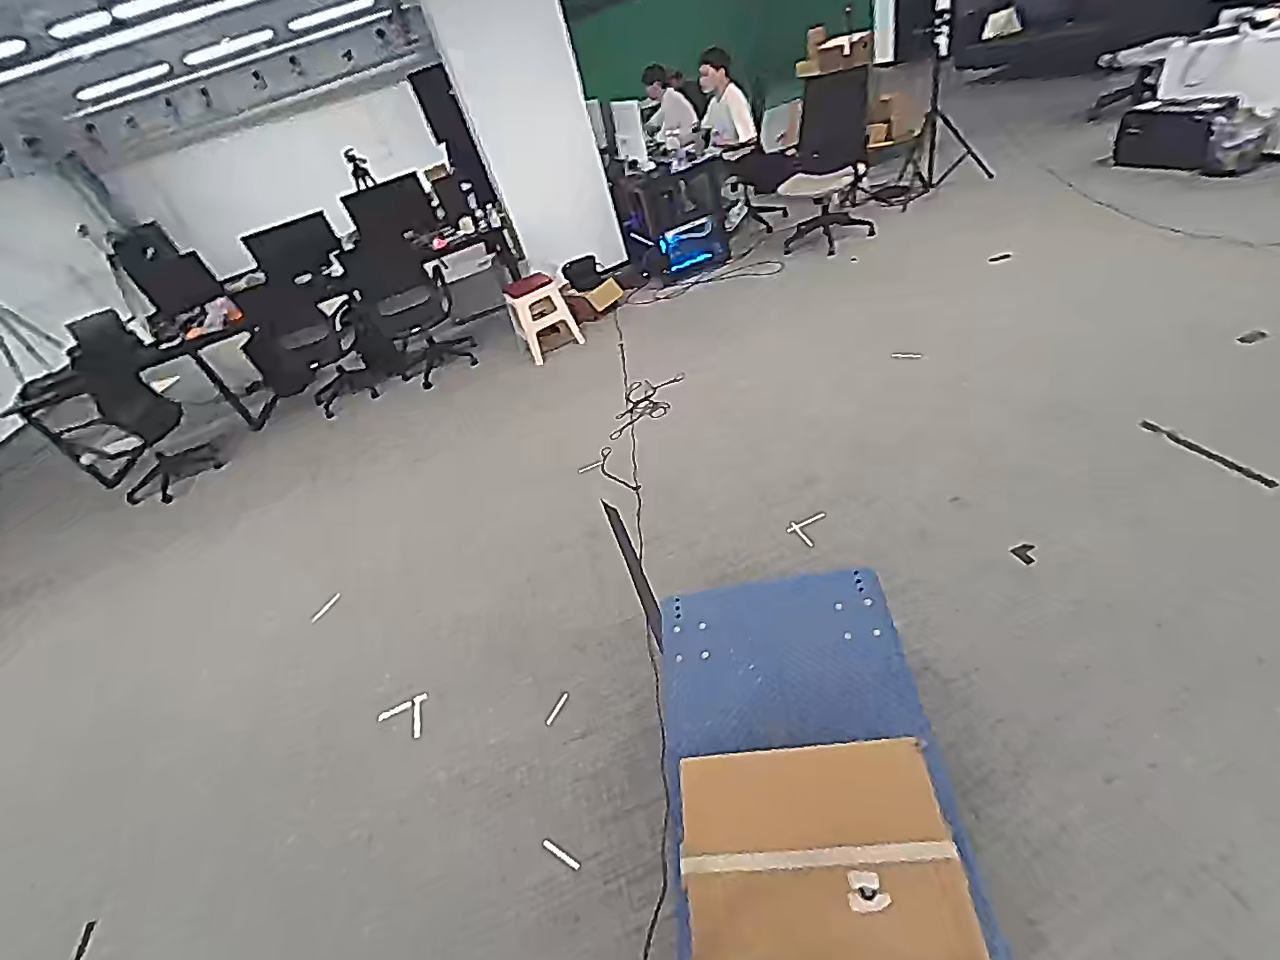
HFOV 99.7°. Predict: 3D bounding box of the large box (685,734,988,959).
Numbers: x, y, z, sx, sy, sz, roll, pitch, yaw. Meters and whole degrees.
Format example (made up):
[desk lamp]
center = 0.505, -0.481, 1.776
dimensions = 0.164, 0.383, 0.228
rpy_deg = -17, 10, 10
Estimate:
[large box]
center = 0.313, 0.678, 0.962
dimensions = 0.408, 0.320, 0.320
rpy_deg = -11, 49, 11
